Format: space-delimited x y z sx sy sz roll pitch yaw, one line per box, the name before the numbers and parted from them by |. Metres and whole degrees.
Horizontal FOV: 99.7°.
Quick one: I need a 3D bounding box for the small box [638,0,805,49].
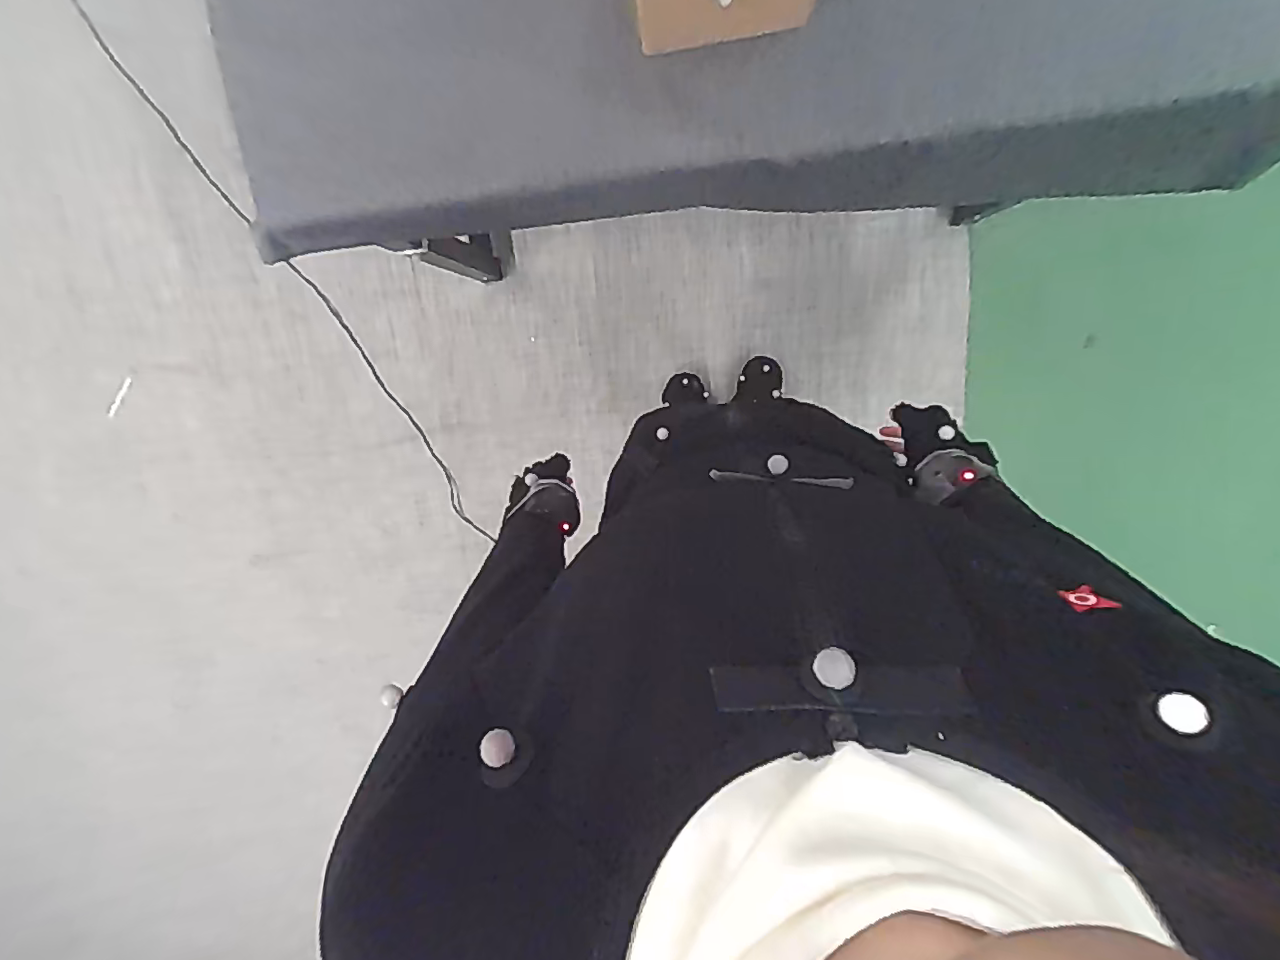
small box | 0.077 -0.529 0.476 0.179 0.176 0.168 -10 103 4
